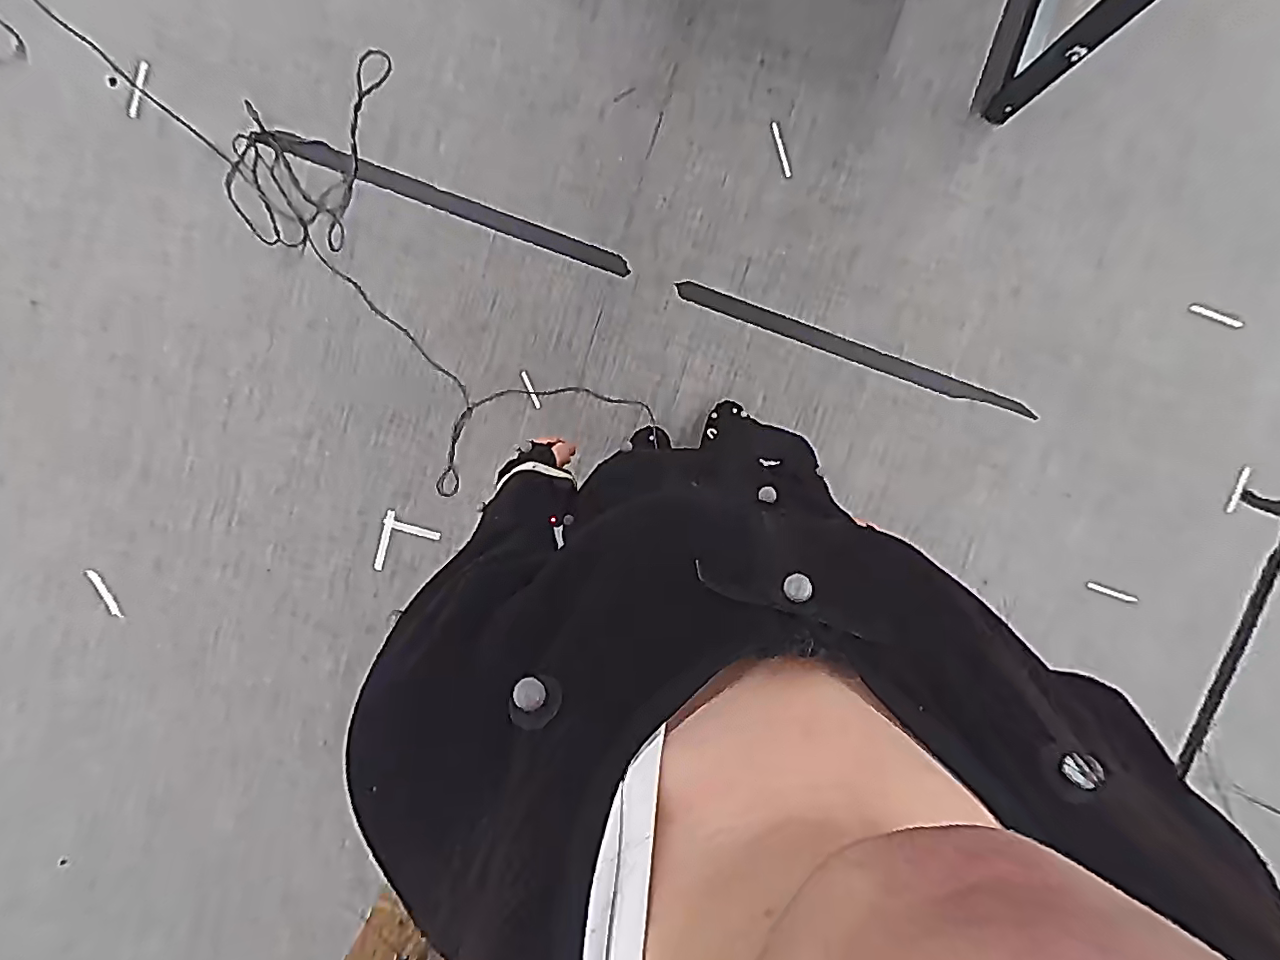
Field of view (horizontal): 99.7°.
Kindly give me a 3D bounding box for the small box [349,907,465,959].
[{"bbox_3d":[-0.392,0.837,0.865,0.168,0.176,0.179,10,96,-1],"label":"small box"}]
